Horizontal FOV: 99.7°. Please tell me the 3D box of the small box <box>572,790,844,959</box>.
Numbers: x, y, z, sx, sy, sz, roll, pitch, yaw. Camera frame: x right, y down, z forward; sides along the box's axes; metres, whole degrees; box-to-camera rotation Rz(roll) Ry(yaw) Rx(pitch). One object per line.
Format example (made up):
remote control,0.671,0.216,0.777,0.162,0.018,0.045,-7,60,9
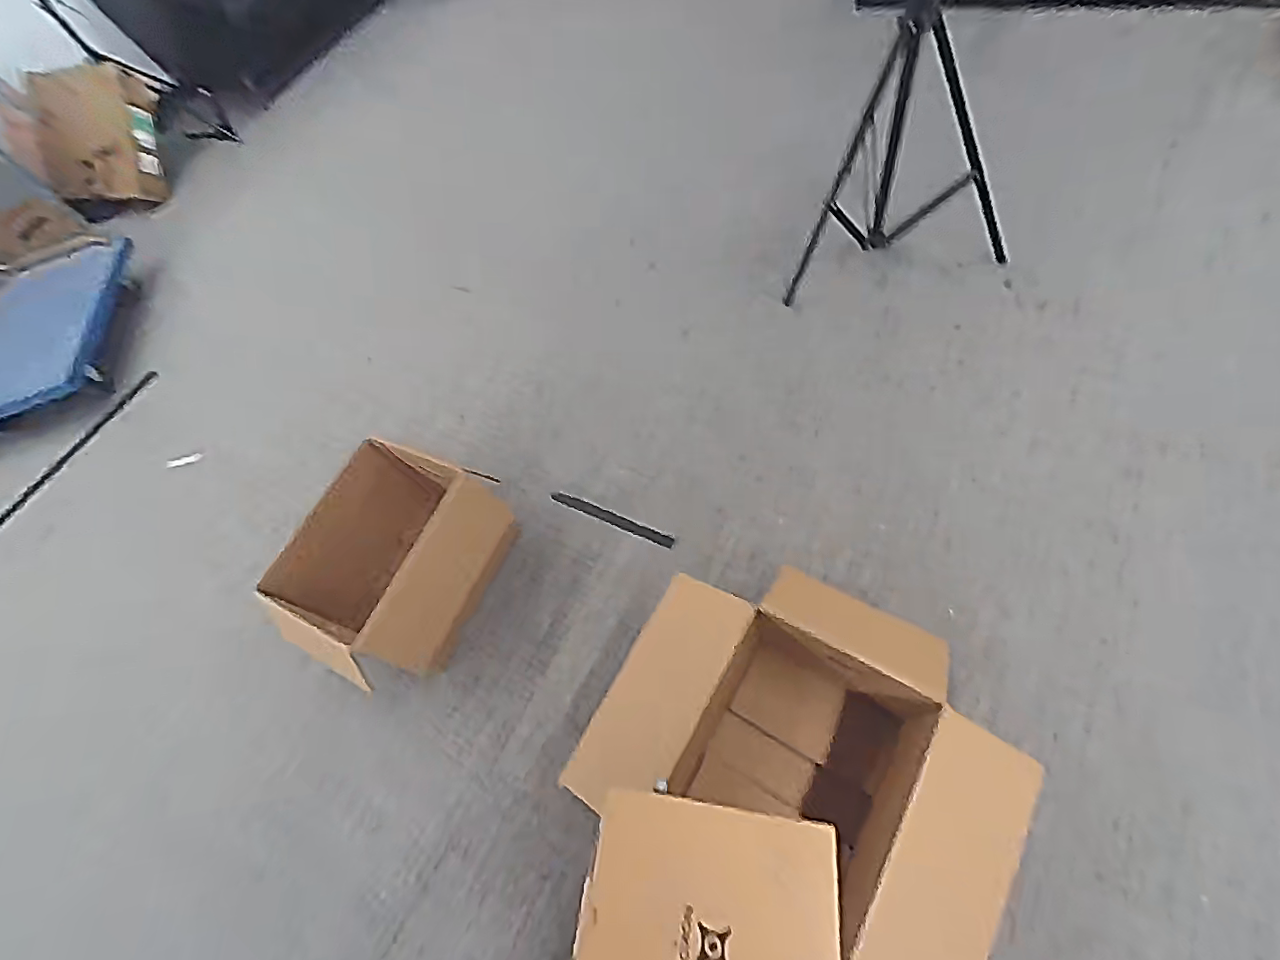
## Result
small box,0.052,0.356,0.416,0.179,0.176,0.168,4,53,11
